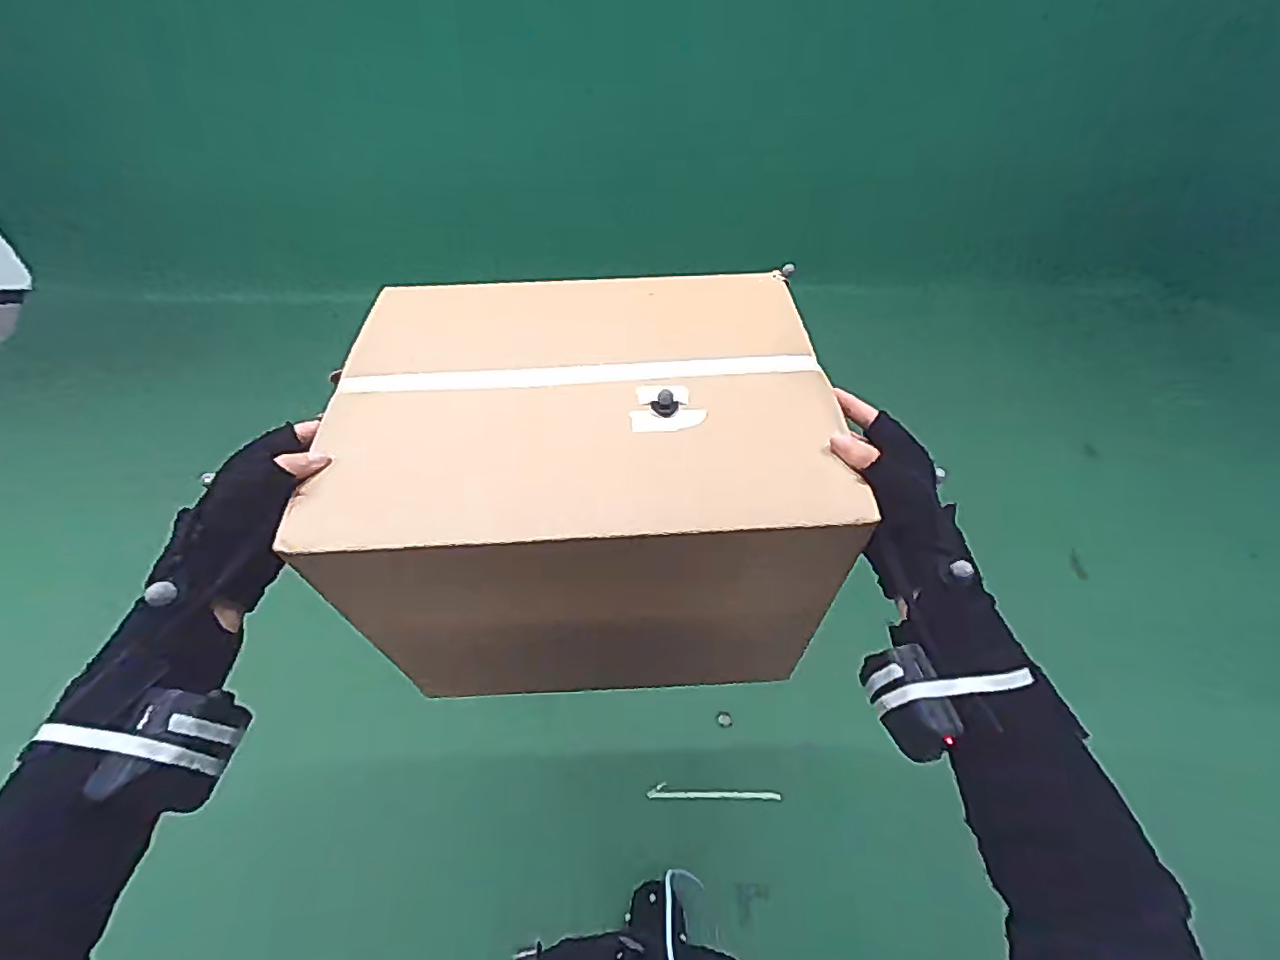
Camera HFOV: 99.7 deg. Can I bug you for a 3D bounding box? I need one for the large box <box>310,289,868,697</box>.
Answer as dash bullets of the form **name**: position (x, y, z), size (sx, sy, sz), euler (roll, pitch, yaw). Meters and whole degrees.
- **large box**: position (-0.044, 0.019, 0.587), size (0.408, 0.320, 0.320), euler (-3, 51, -2)
